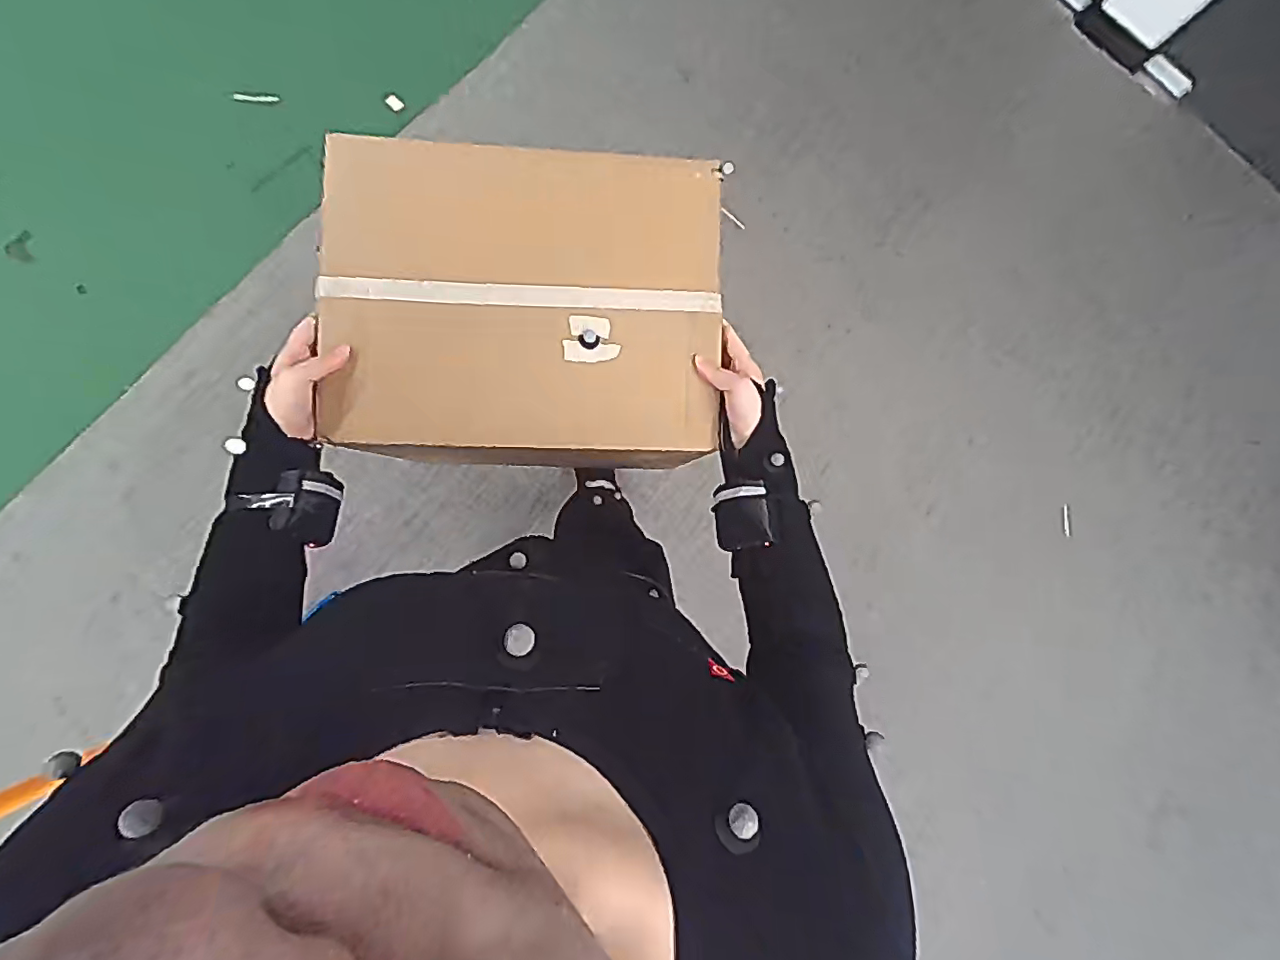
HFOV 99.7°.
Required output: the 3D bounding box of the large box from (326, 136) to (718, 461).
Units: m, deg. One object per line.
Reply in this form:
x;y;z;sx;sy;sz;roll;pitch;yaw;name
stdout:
-0.134;-0.193;0.709;0.408;0.320;0.320;0;89;-6;large box
